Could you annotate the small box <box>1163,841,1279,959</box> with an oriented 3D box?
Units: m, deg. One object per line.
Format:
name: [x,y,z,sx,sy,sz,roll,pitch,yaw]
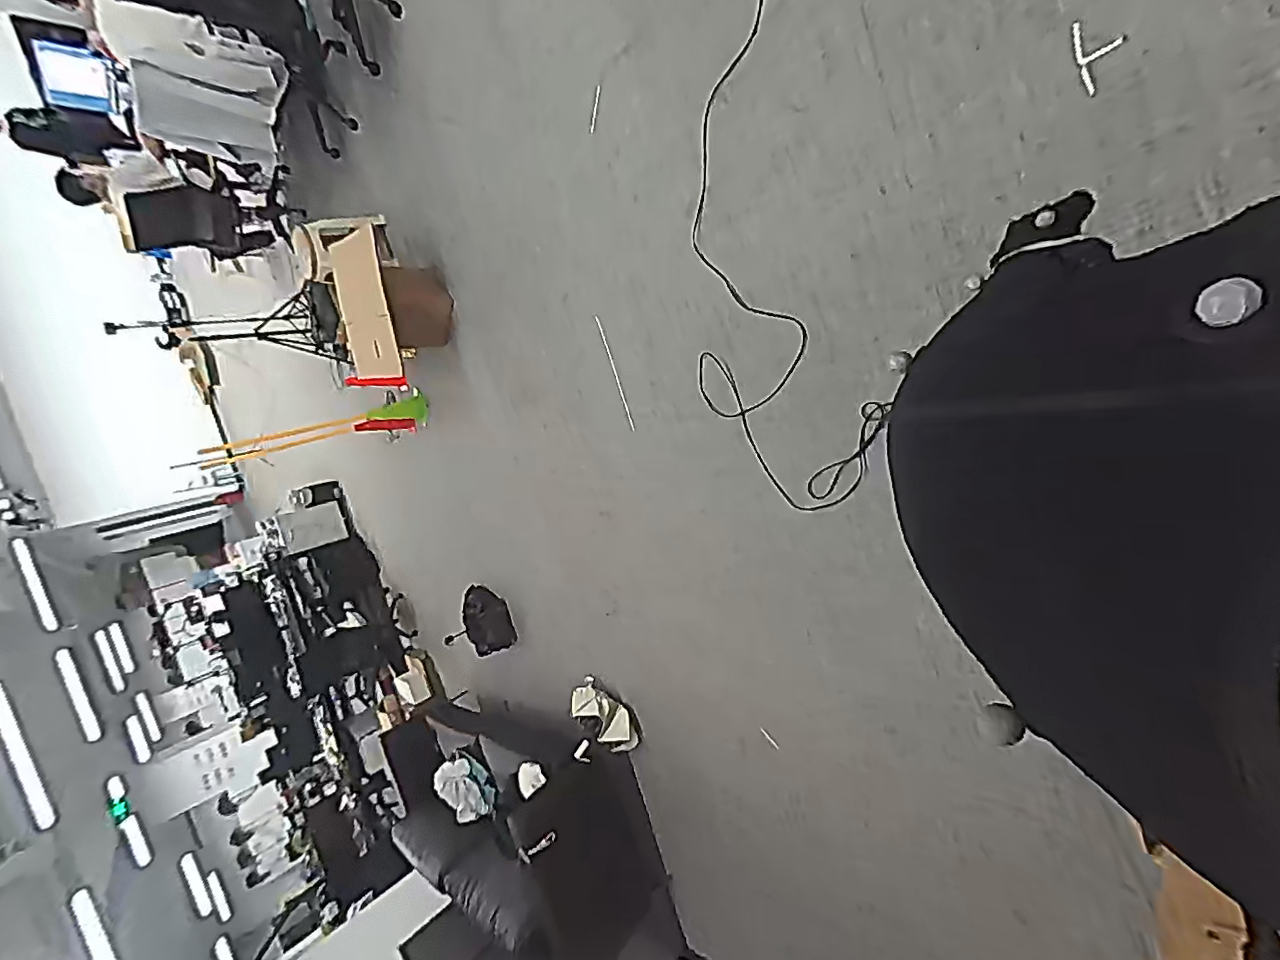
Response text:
small box: [0.946,0.714,0.842,0.168,0.176,0.179,-14,95,48]
